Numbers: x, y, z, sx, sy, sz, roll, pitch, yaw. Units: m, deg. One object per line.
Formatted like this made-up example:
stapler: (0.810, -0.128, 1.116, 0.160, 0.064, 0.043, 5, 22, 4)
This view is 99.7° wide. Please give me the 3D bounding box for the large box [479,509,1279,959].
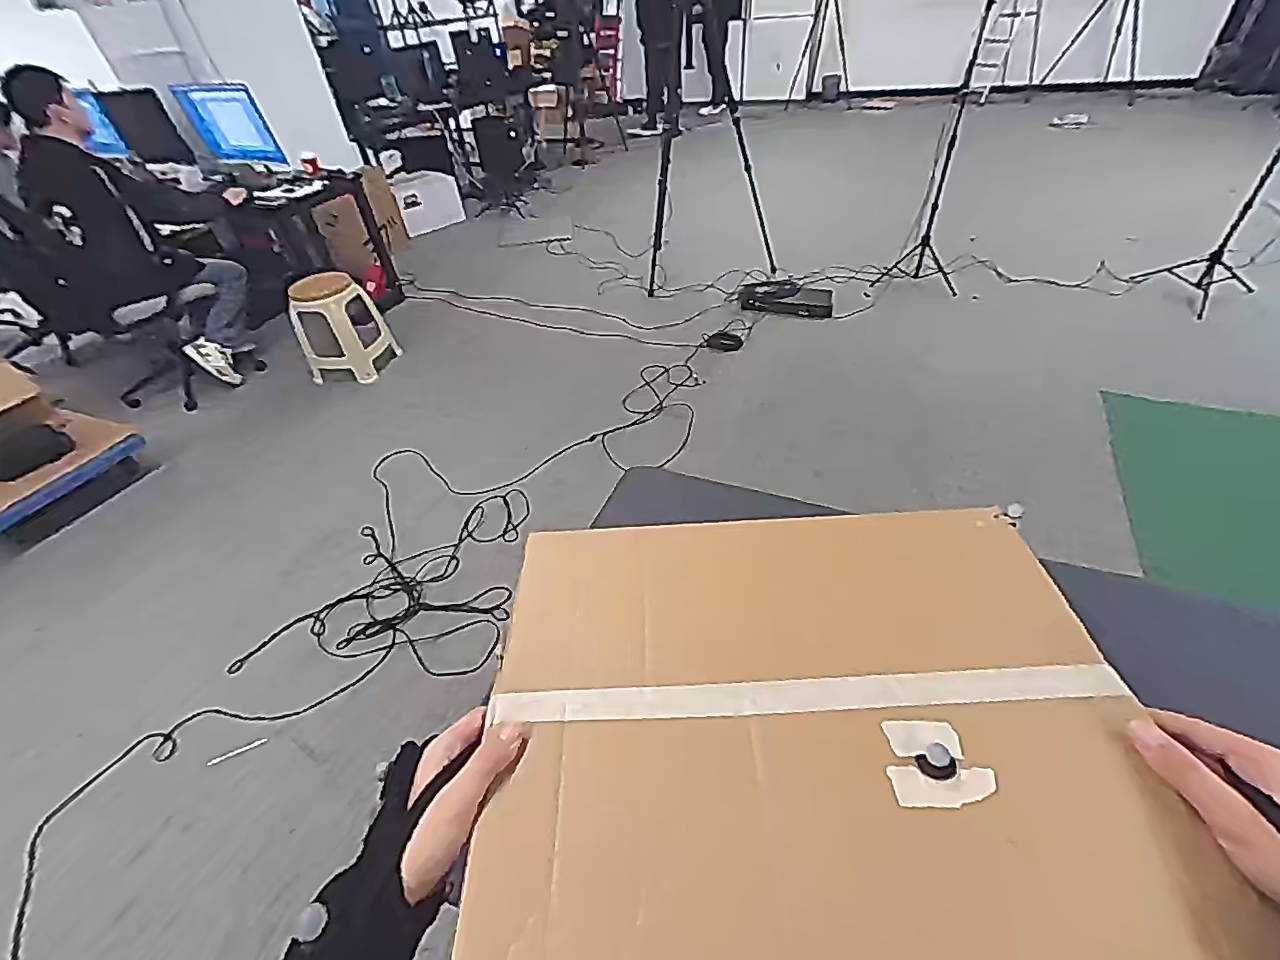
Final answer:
large box: (0.117, 0.249, 0.468, 0.408, 0.320, 0.320, -3, 44, 1)
